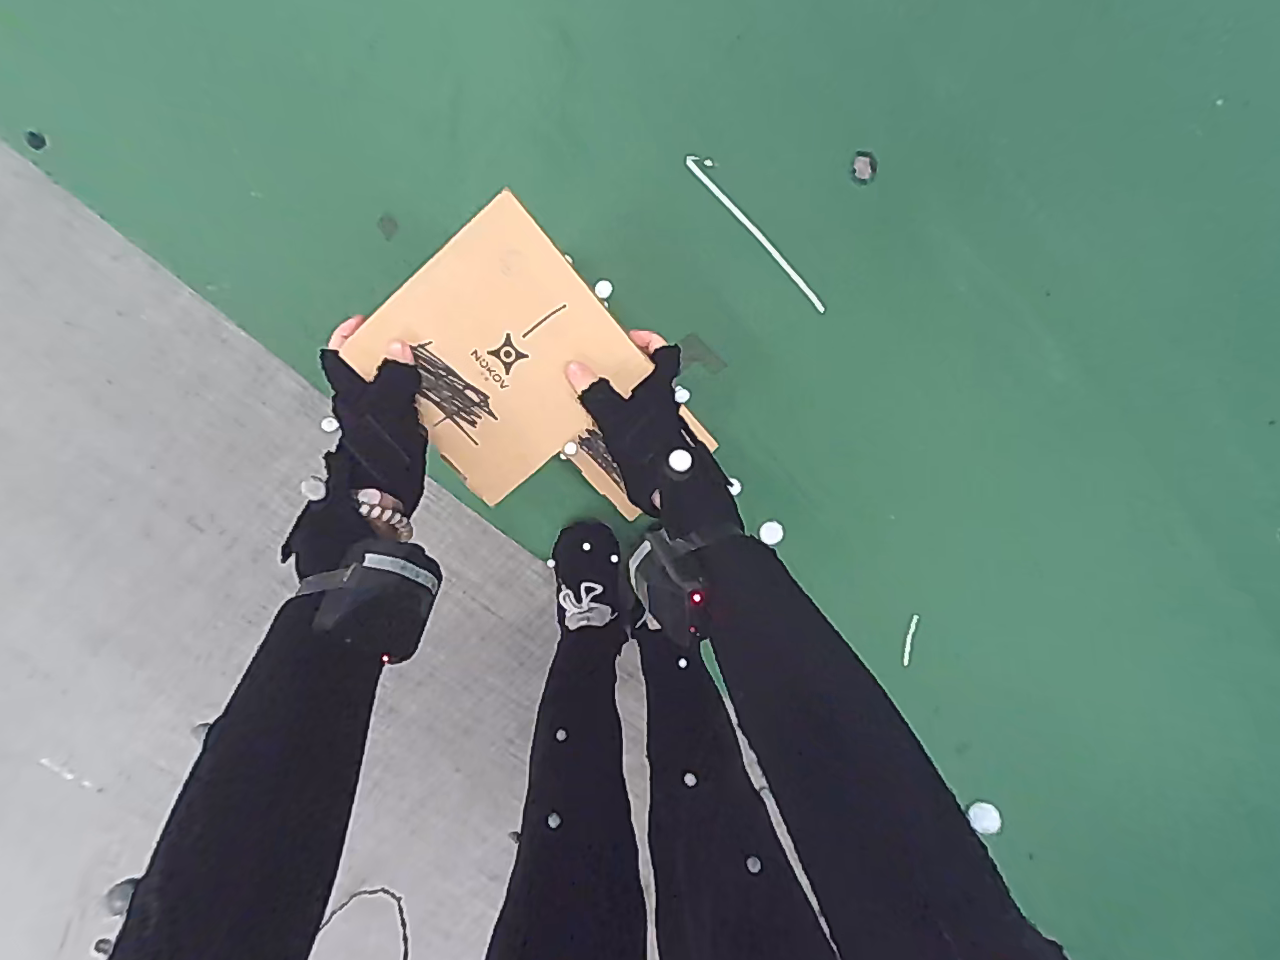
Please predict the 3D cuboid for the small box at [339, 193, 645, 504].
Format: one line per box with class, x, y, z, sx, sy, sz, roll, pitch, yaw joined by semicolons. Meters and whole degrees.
small box;-0.113;-0.112;0.486;0.179;0.176;0.168;-39;104;7
